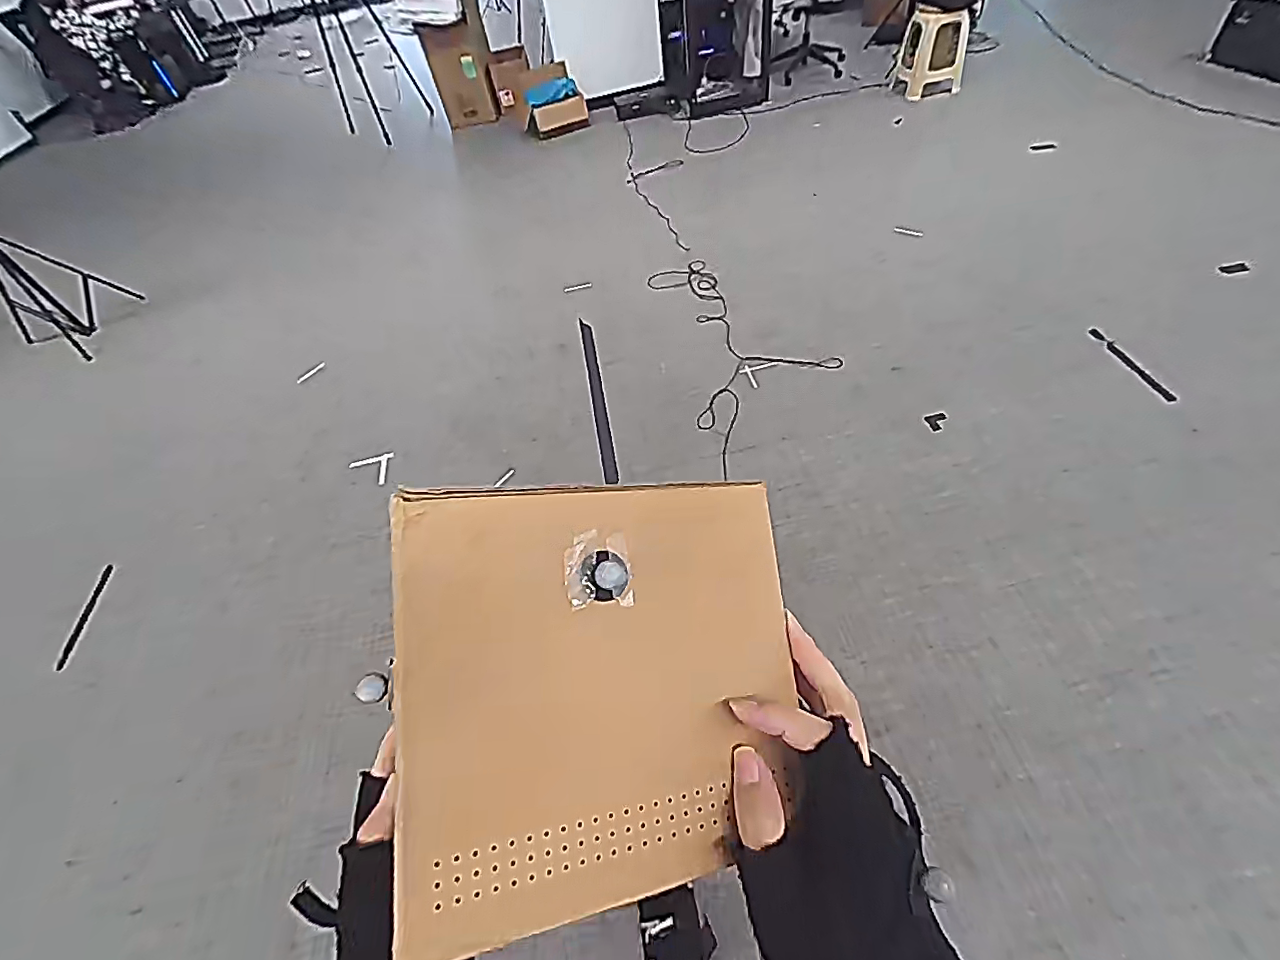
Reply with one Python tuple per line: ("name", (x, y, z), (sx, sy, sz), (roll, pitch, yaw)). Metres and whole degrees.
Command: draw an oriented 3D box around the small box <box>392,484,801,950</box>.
("small box", (-0.036, 0.105, 0.300), (0.179, 0.168, 0.176), (-1, 77, -23))
